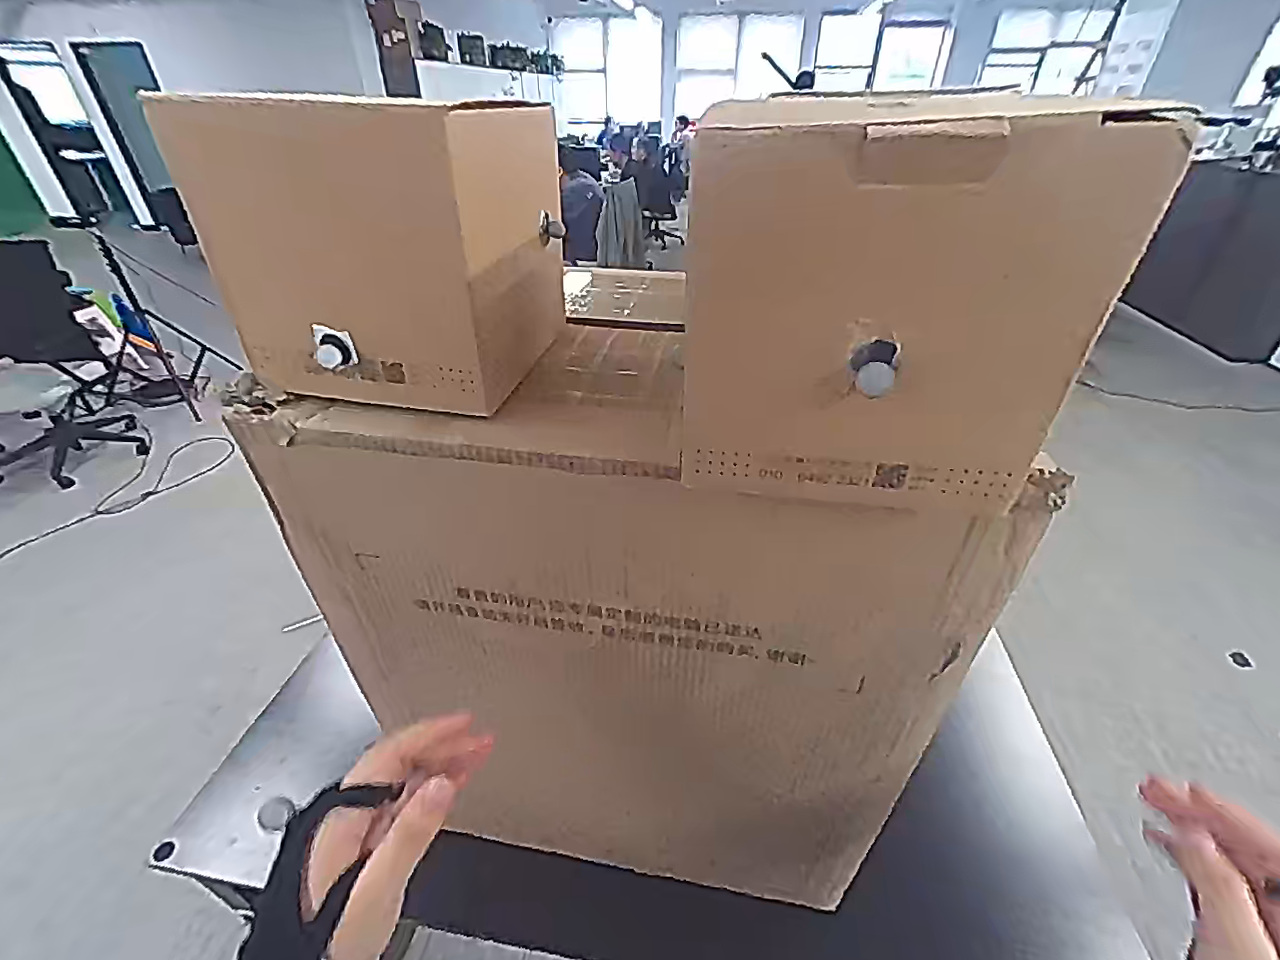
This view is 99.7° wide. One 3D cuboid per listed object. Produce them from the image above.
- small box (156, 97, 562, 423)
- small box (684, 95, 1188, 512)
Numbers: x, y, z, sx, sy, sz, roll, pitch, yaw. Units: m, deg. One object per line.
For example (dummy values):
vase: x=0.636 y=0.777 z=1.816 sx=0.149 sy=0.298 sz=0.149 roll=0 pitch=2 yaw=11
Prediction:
small box: x=-0.156 y=-0.159 z=0.377 sx=0.168 sy=0.176 sz=0.179 roll=6 pitch=36 yaw=7
small box: x=0.115 y=-0.101 z=0.298 sx=0.168 sy=0.176 sz=0.179 roll=5 pitch=38 yaw=9
